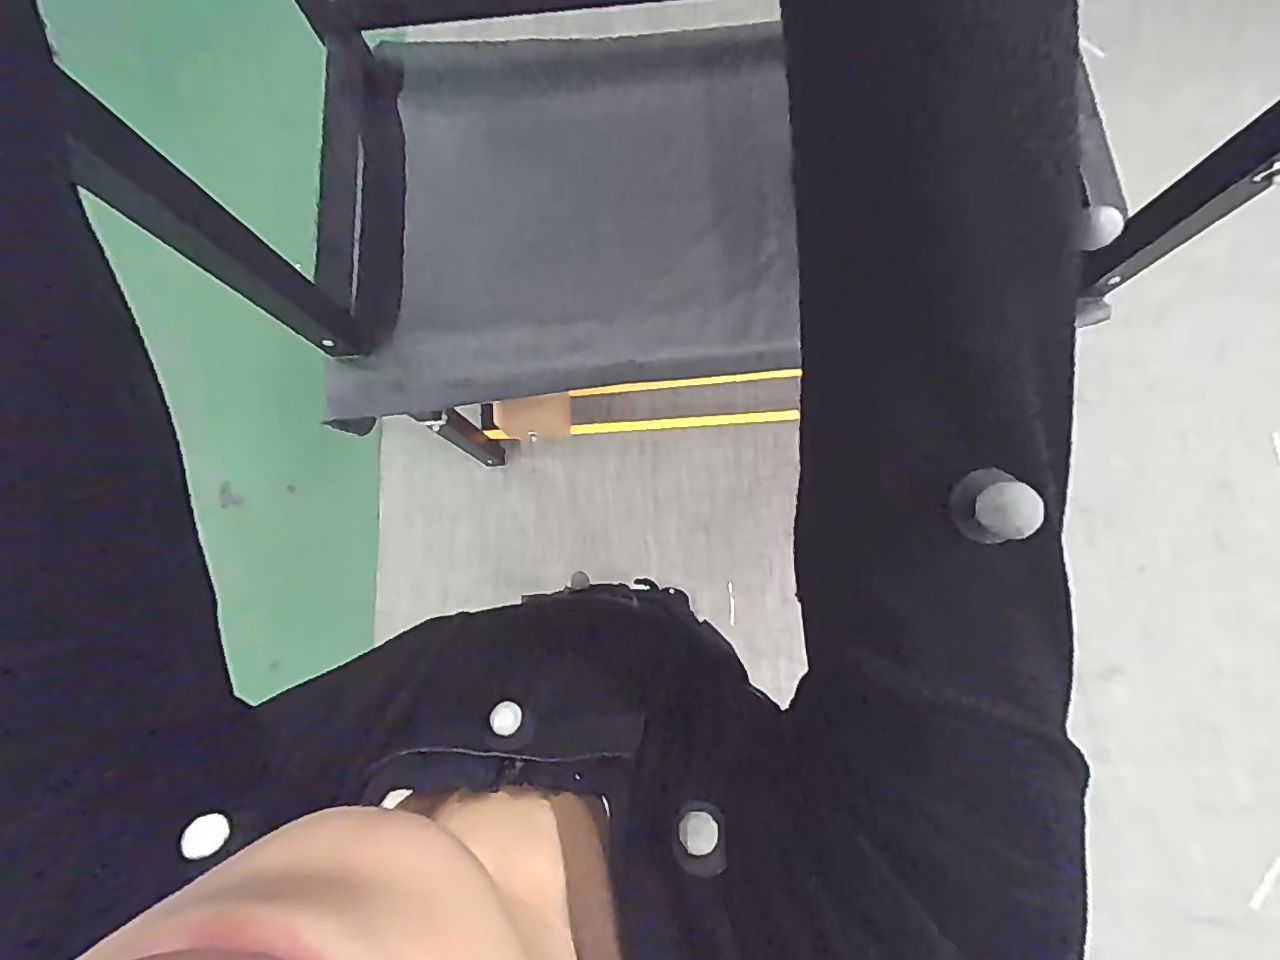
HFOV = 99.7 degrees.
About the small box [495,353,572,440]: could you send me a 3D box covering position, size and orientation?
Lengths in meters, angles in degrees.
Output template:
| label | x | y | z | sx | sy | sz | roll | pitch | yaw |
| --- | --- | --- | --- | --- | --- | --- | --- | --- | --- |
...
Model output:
| label | x | y | z | sx | sy | sz | roll | pitch | yaw |
| --- | --- | --- | --- | --- | --- | --- | --- | --- | --- |
| small box | -0.275 | -0.214 | 1.416 | 0.168 | 0.176 | 0.179 | -4 | 80 | 2 |
